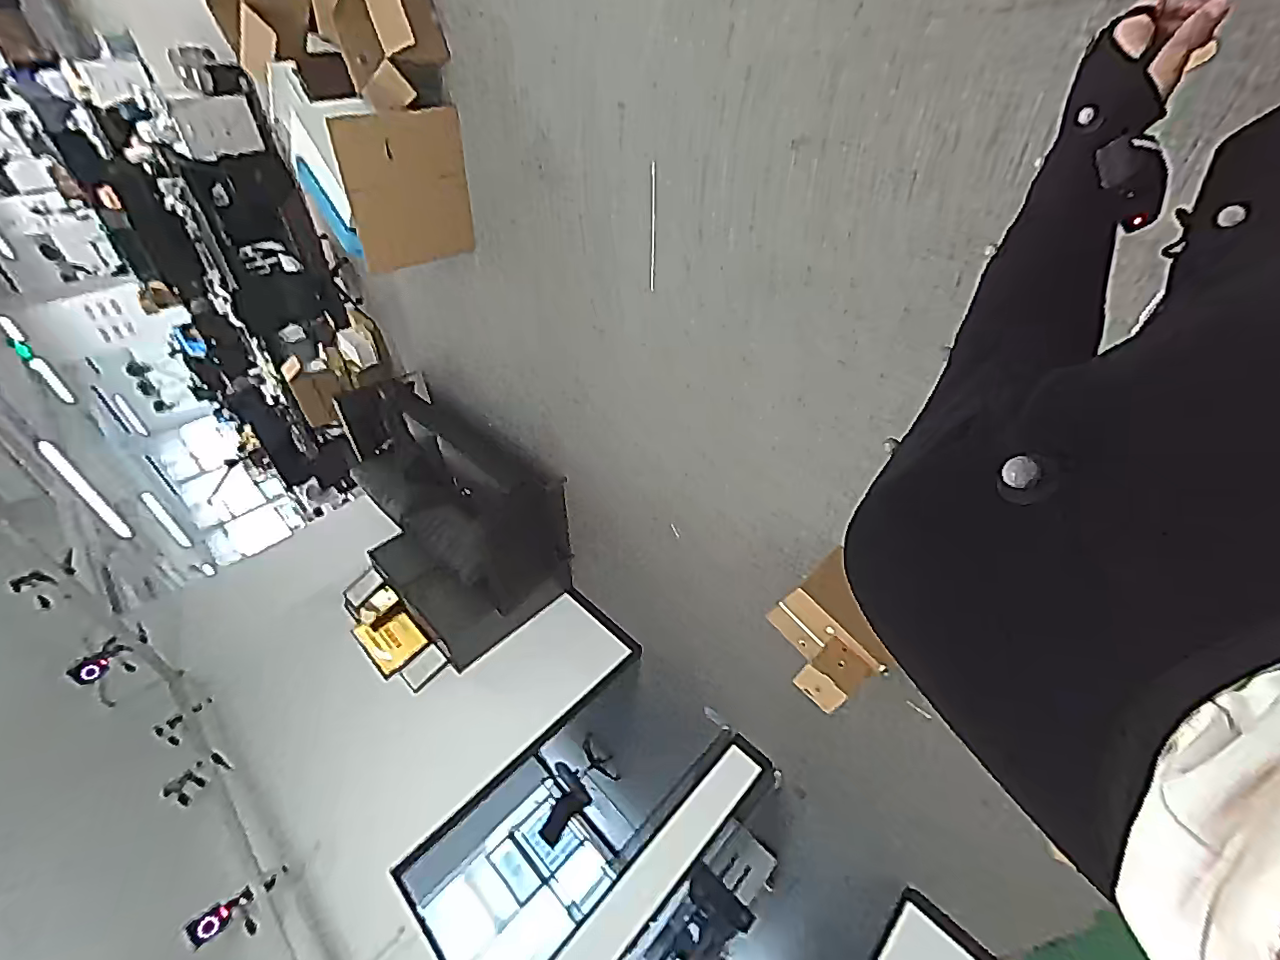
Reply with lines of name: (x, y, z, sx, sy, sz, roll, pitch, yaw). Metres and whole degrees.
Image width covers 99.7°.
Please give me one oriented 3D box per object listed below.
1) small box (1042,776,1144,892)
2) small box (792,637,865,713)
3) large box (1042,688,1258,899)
small box: (1.244, 0.957, 1.484, 0.179, 0.176, 0.168, -2, 115, 53)
small box: (0.698, 0.713, 1.989, 0.168, 0.176, 0.179, 41, 143, 23)
large box: (1.473, 0.869, 1.568, 0.408, 0.320, 0.320, -2, 117, 52)
